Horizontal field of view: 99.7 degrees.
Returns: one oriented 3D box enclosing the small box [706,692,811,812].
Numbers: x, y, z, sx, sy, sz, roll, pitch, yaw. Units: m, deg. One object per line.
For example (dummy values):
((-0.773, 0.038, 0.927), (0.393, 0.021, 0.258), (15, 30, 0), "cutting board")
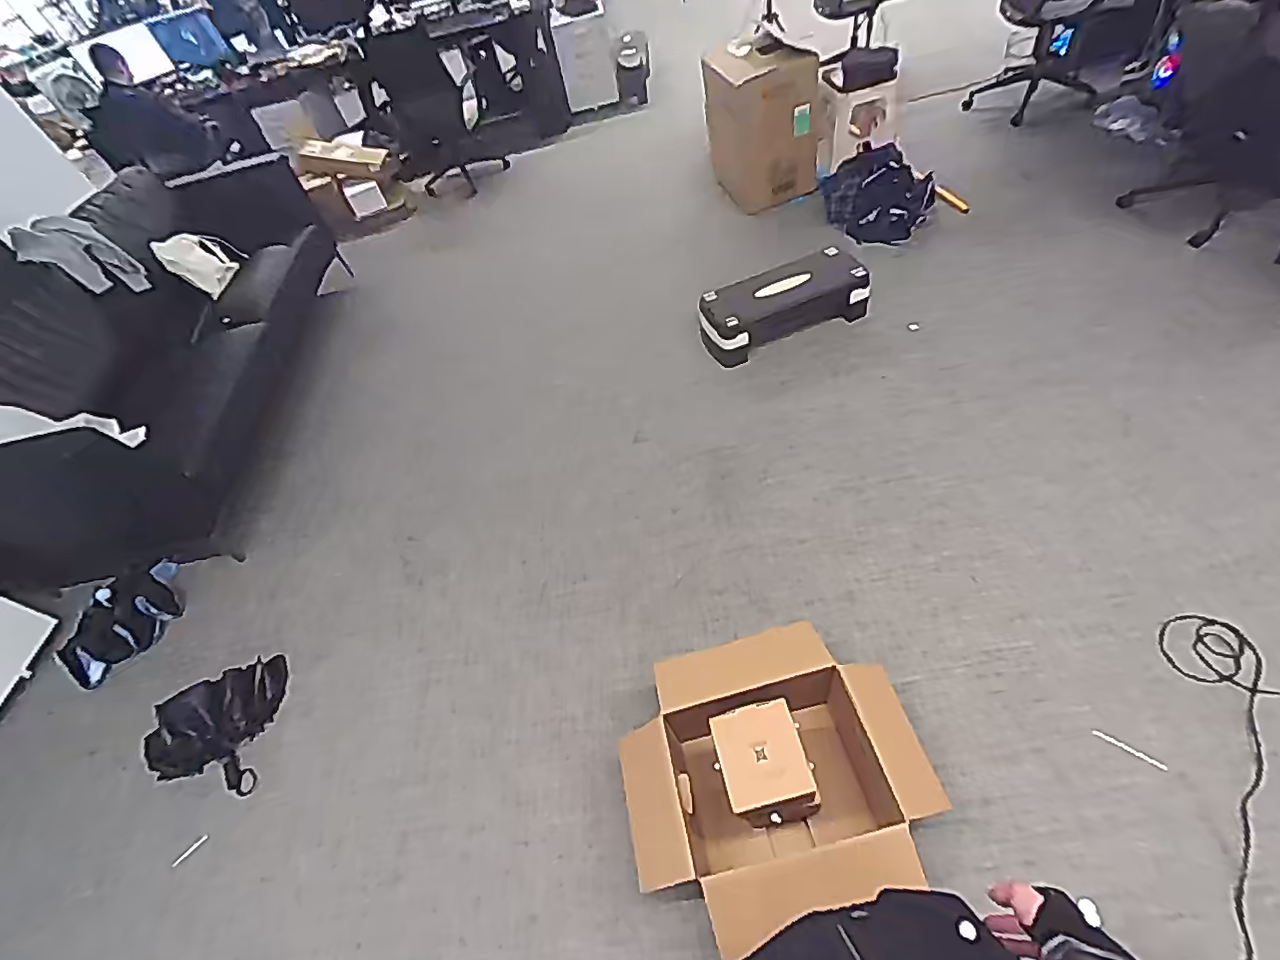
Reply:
((0.245, 0.573, 1.132), (0.168, 0.176, 0.179), (-17, 53, 3), "small box")
